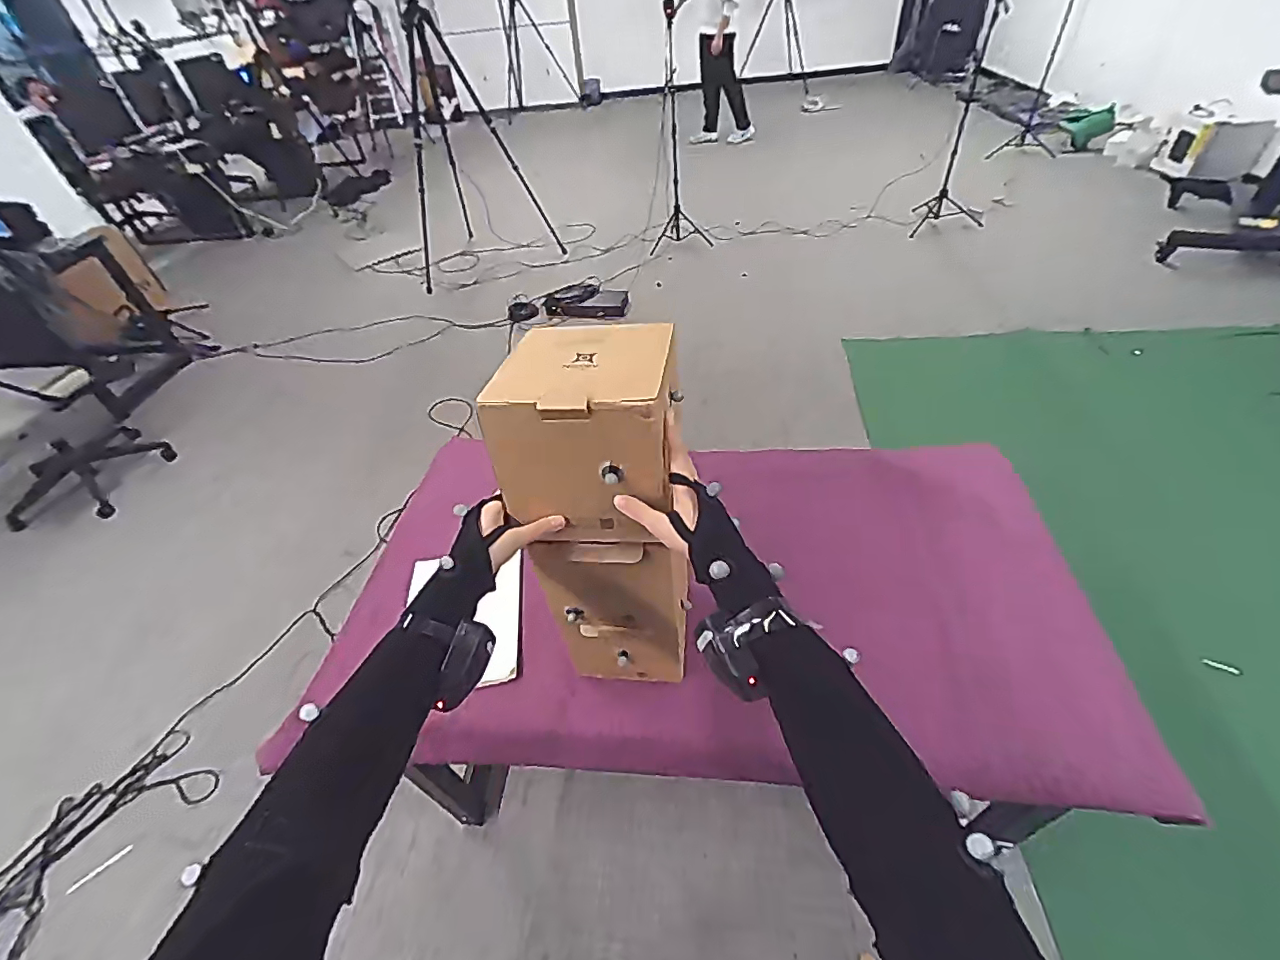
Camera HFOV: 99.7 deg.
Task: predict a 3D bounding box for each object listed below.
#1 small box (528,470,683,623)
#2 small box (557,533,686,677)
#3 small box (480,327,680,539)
[{"bbox_3d":[-0.031,0.071,0.715,0.168,0.176,0.179,1,43,8],"label":"small box"},{"bbox_3d":[-0.016,0.185,0.833,0.168,0.176,0.179,1,45,7],"label":"small box"},{"bbox_3d":[-0.047,-0.052,0.587,0.168,0.176,0.179,1,37,9],"label":"small box"}]
